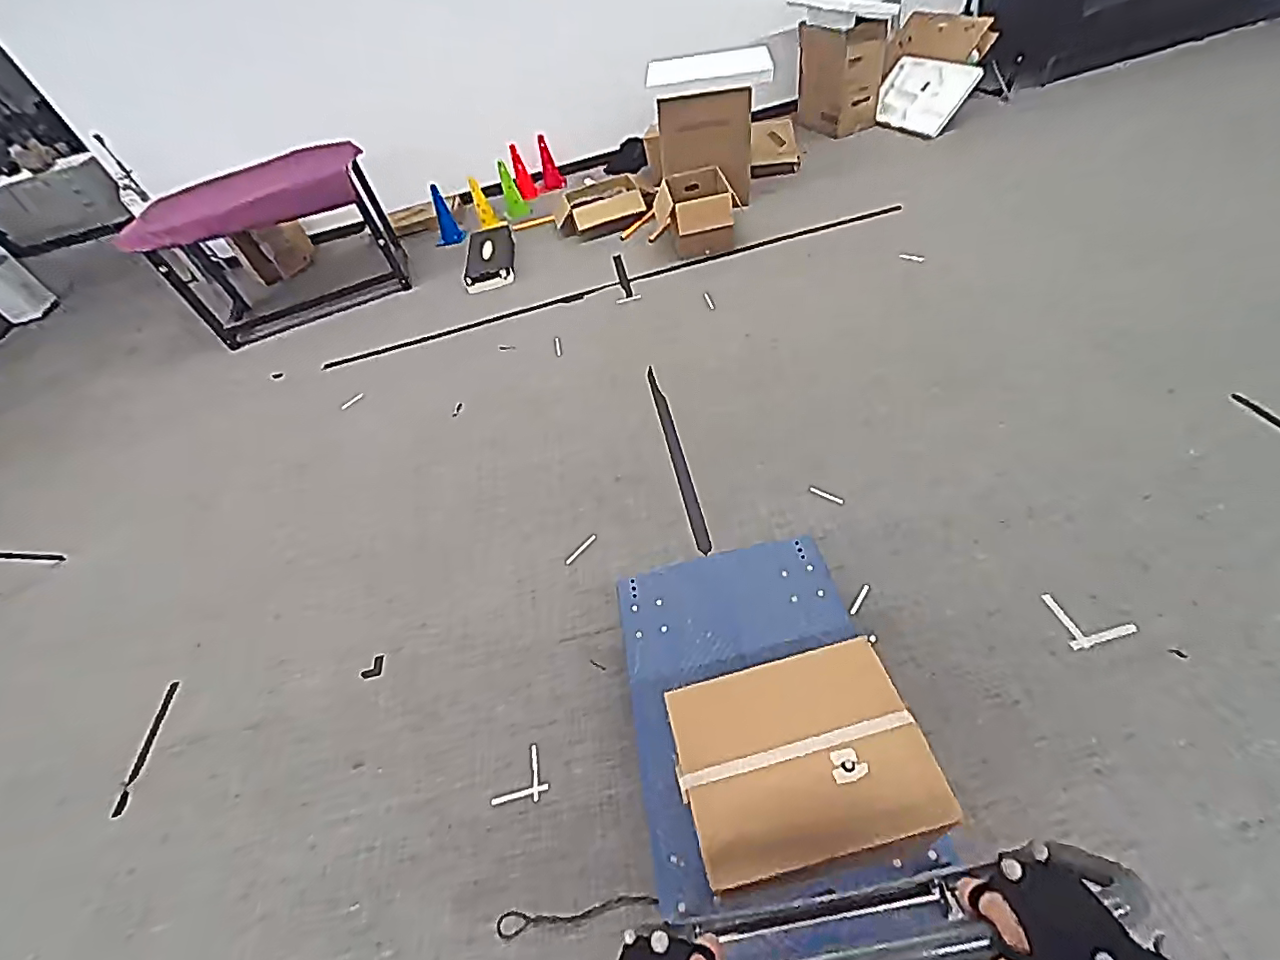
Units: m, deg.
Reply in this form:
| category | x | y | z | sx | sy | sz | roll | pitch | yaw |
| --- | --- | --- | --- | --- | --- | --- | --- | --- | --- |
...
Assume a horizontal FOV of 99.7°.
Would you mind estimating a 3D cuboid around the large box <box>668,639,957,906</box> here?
| category | x | y | z | sx | sy | sz | roll | pitch | yaw |
| --- | --- | --- | --- | --- | --- | --- | --- | --- | --- |
| large box | 0.298 | 0.566 | 1.043 | 0.408 | 0.320 | 0.320 | -16 | 48 | -1 |
